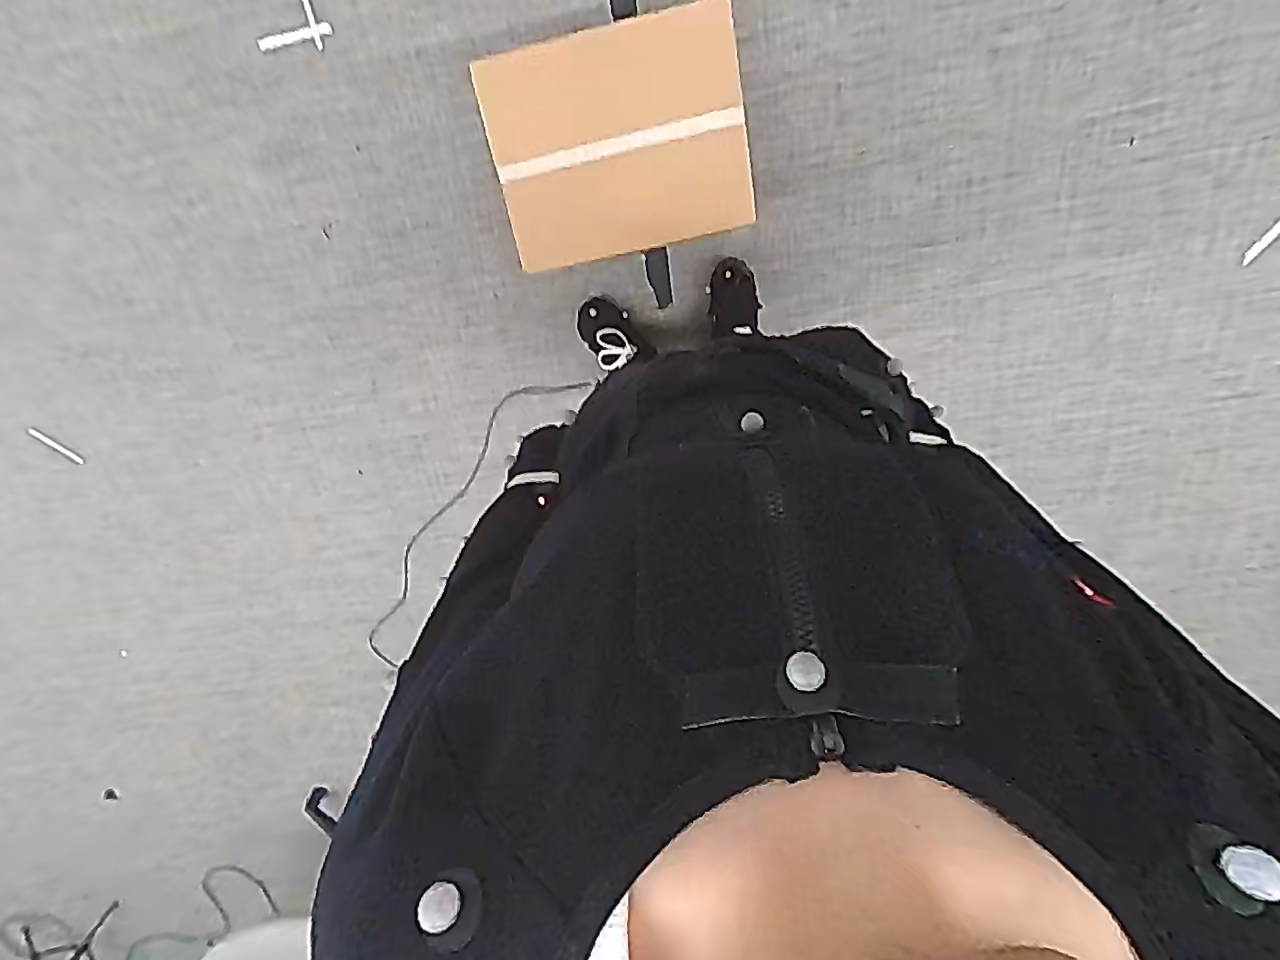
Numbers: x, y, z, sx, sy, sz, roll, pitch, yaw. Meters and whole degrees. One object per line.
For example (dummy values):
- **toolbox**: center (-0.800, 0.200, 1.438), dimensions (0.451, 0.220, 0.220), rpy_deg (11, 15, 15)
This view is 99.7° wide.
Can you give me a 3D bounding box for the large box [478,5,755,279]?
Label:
- **large box**: center (-0.027, -0.585, 1.013), dimensions (0.408, 0.320, 0.320), rpy_deg (-10, 113, 6)
